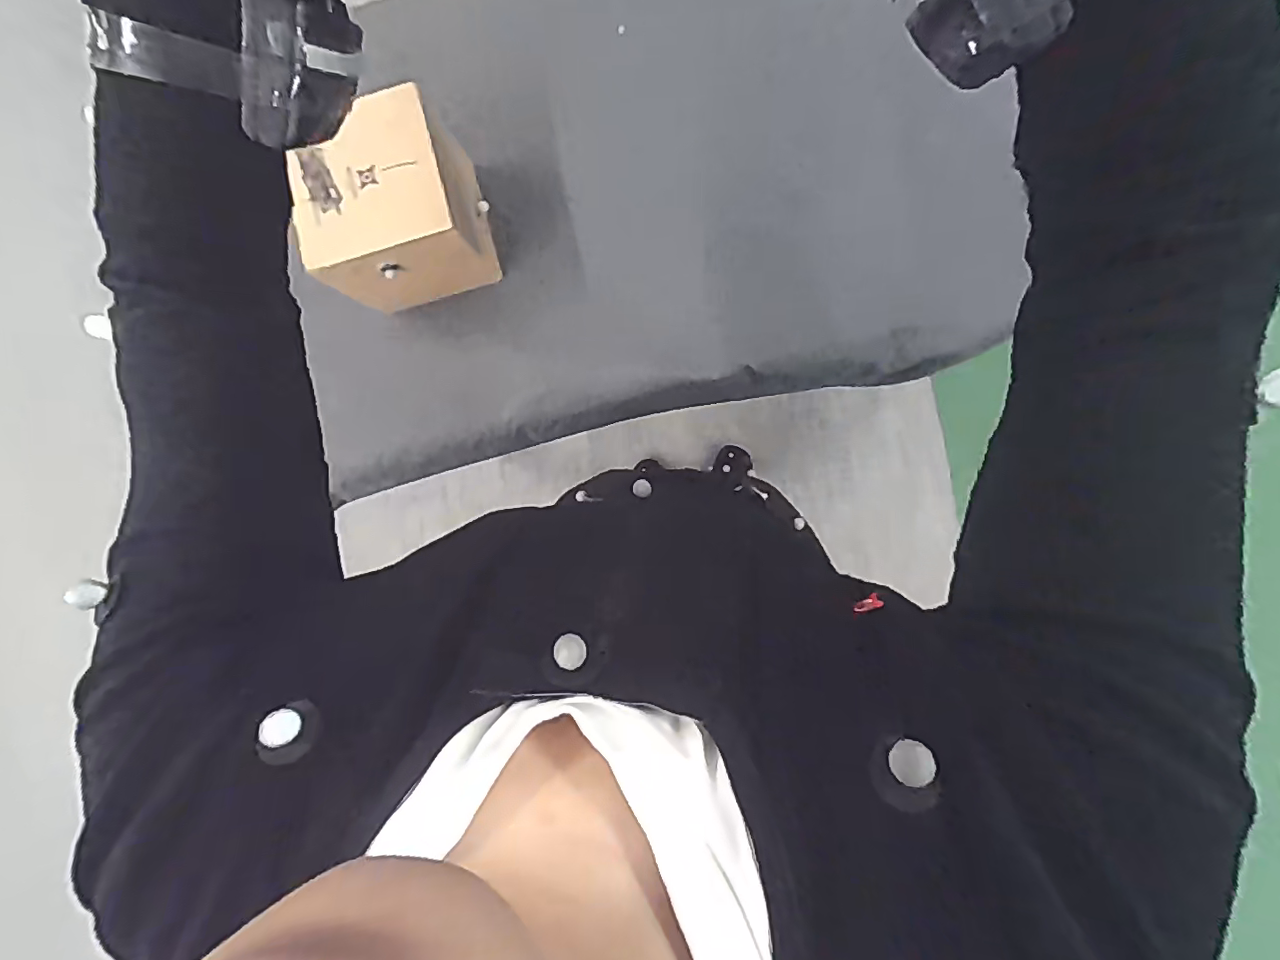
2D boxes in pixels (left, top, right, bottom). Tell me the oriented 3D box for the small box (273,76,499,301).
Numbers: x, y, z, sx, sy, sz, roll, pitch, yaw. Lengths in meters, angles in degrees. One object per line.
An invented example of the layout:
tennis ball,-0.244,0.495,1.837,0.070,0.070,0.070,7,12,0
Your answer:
small box,-0.299,-0.340,0.670,0.179,0.176,0.168,-14,91,4
